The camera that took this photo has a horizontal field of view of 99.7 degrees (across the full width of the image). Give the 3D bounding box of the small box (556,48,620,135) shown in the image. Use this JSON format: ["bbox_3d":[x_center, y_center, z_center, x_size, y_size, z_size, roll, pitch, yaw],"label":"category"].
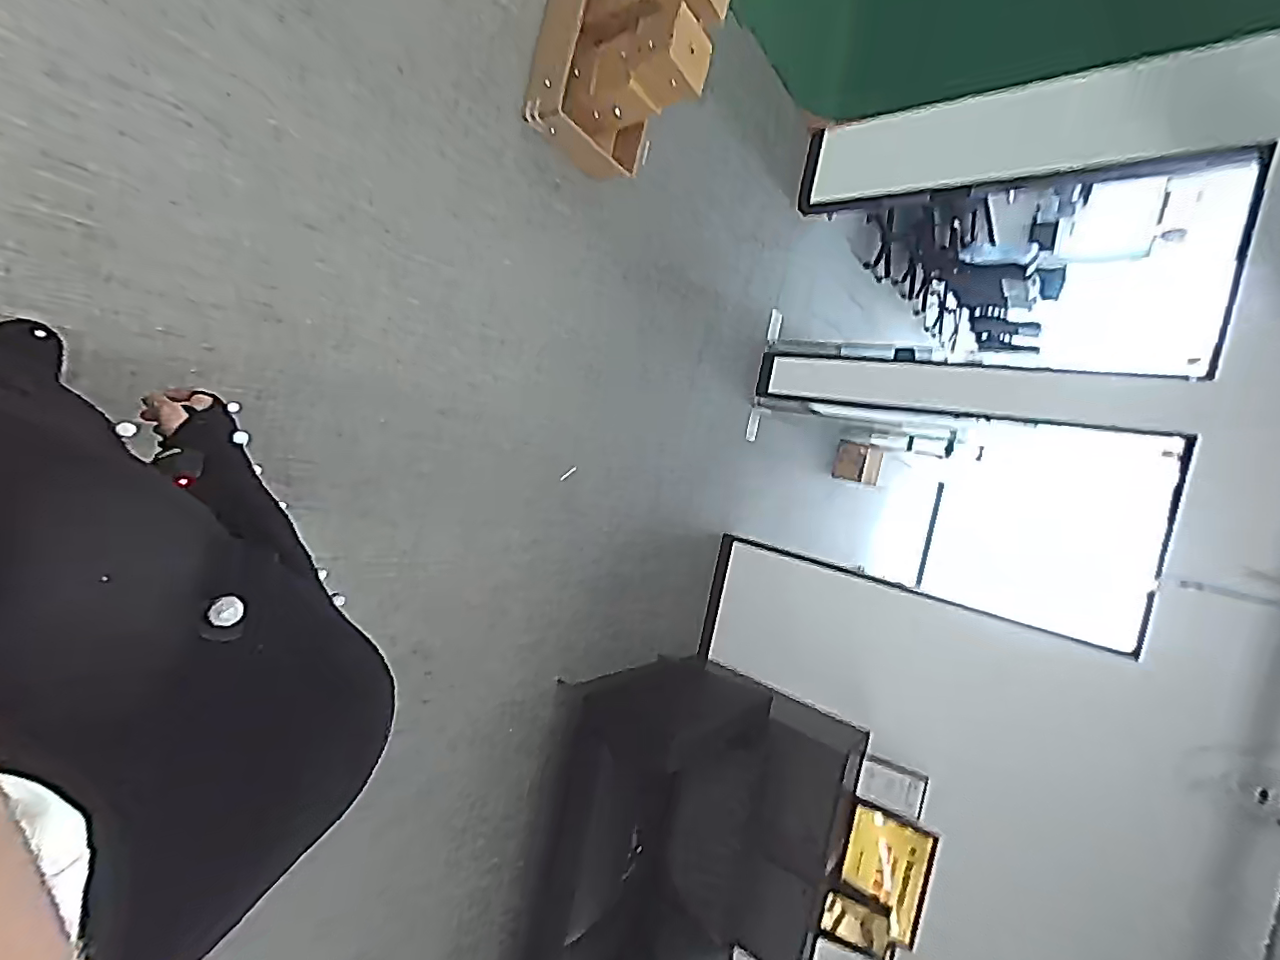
[{"bbox_3d":[-0.166,-1.343,1.888,0.179,0.176,0.168,15,89,-53],"label":"small box"}]

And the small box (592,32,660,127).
[{"bbox_3d":[-0.038,-1.314,1.787,0.168,0.176,0.179,8,95,-51],"label":"small box"}]

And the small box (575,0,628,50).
[{"bbox_3d":[-0.102,-1.615,1.887,0.179,0.176,0.168,11,93,-52],"label":"small box"}]

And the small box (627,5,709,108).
[{"bbox_3d":[0.085,-1.302,1.680,0.179,0.176,0.168,16,88,-52],"label":"small box"}]
